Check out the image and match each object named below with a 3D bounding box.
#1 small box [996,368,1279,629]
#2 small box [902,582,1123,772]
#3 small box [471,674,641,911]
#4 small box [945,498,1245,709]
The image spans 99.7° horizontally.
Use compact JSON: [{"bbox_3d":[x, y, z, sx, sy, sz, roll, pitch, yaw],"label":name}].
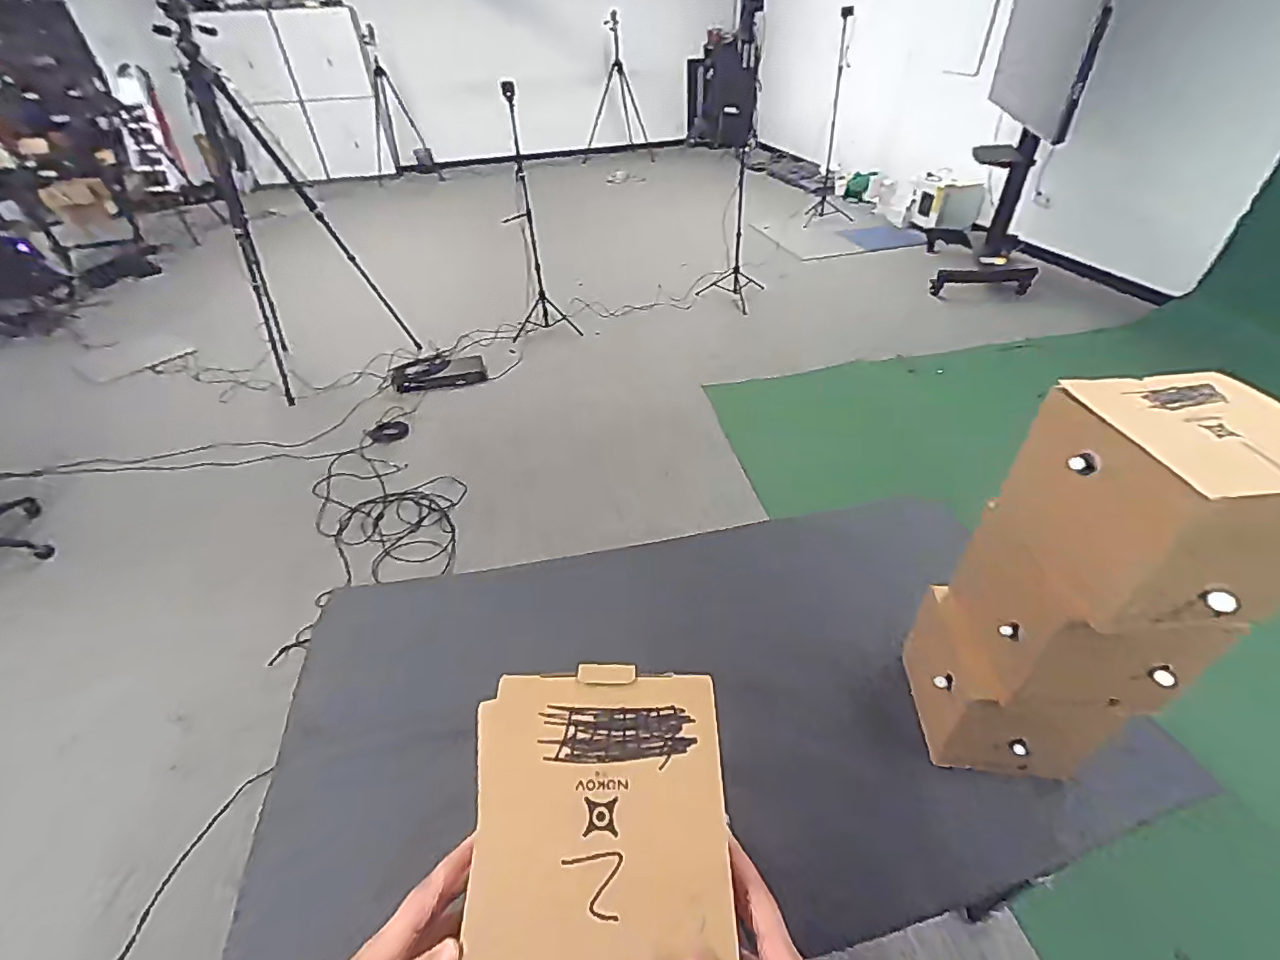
[{"bbox_3d":[0.480,0.014,0.504,0.168,0.176,0.179,-5,40,-1],"label":"small box"},{"bbox_3d":[0.470,0.260,0.718,0.168,0.176,0.179,2,37,7],"label":"small box"},{"bbox_3d":[-0.098,0.369,0.646,0.168,0.176,0.179,-11,39,-8],"label":"small box"},{"bbox_3d":[0.481,0.138,0.611,0.168,0.176,0.179,0,38,3],"label":"small box"}]
